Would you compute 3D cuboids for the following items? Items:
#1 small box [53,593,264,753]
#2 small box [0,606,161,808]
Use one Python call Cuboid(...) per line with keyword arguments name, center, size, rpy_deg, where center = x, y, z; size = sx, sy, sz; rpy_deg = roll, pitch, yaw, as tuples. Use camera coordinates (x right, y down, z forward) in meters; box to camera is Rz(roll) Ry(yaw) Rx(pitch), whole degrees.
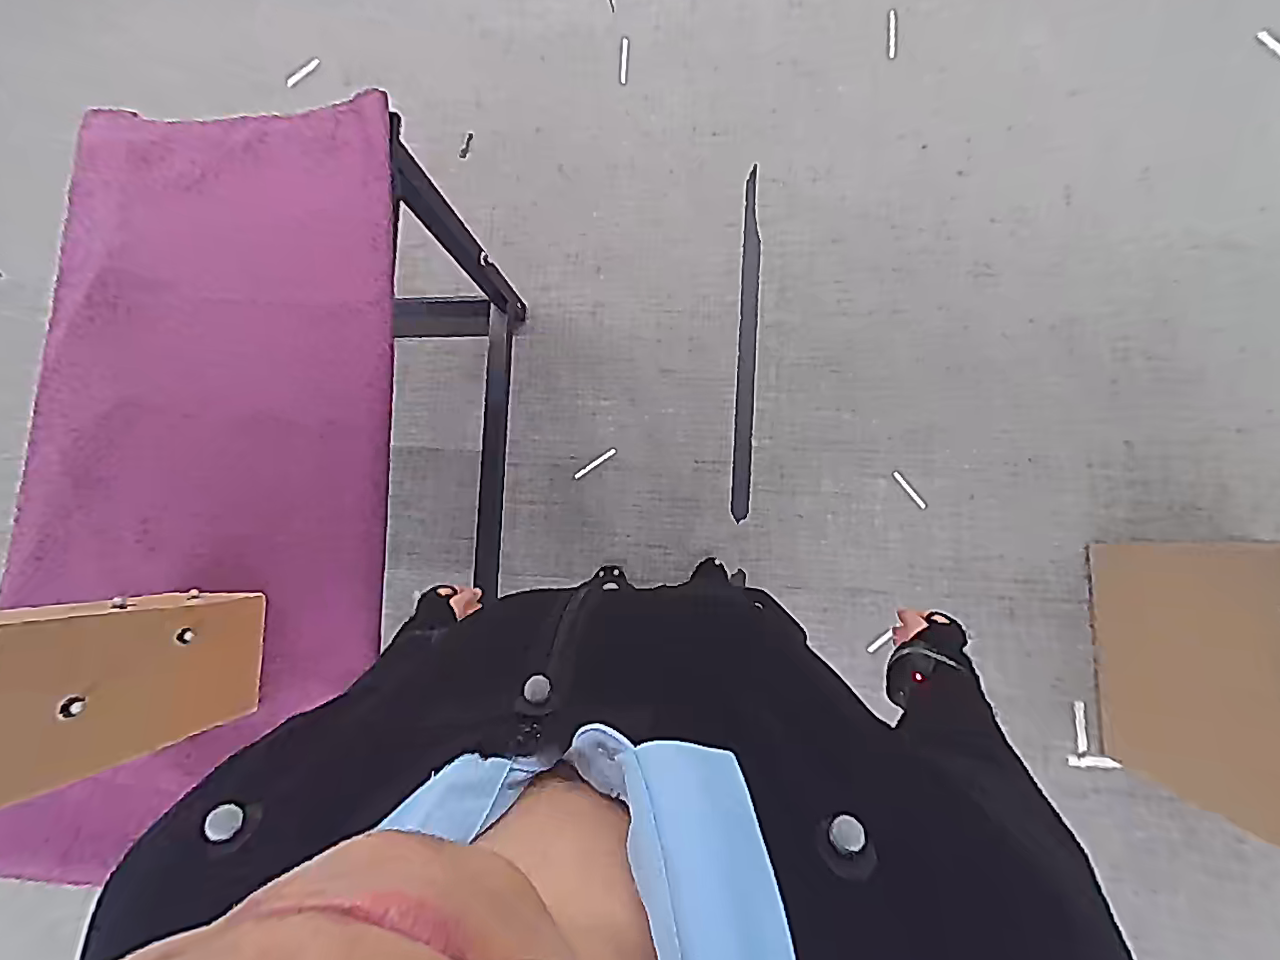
Cuboid(name="small box", center=(-0.661, 0.253, 0.748), size=(0.168, 0.176, 0.179), rpy_deg=(-1, 83, 6))
Cuboid(name="small box", center=(-0.674, 0.232, 0.585), size=(0.168, 0.176, 0.179), rpy_deg=(-2, 83, 6))
